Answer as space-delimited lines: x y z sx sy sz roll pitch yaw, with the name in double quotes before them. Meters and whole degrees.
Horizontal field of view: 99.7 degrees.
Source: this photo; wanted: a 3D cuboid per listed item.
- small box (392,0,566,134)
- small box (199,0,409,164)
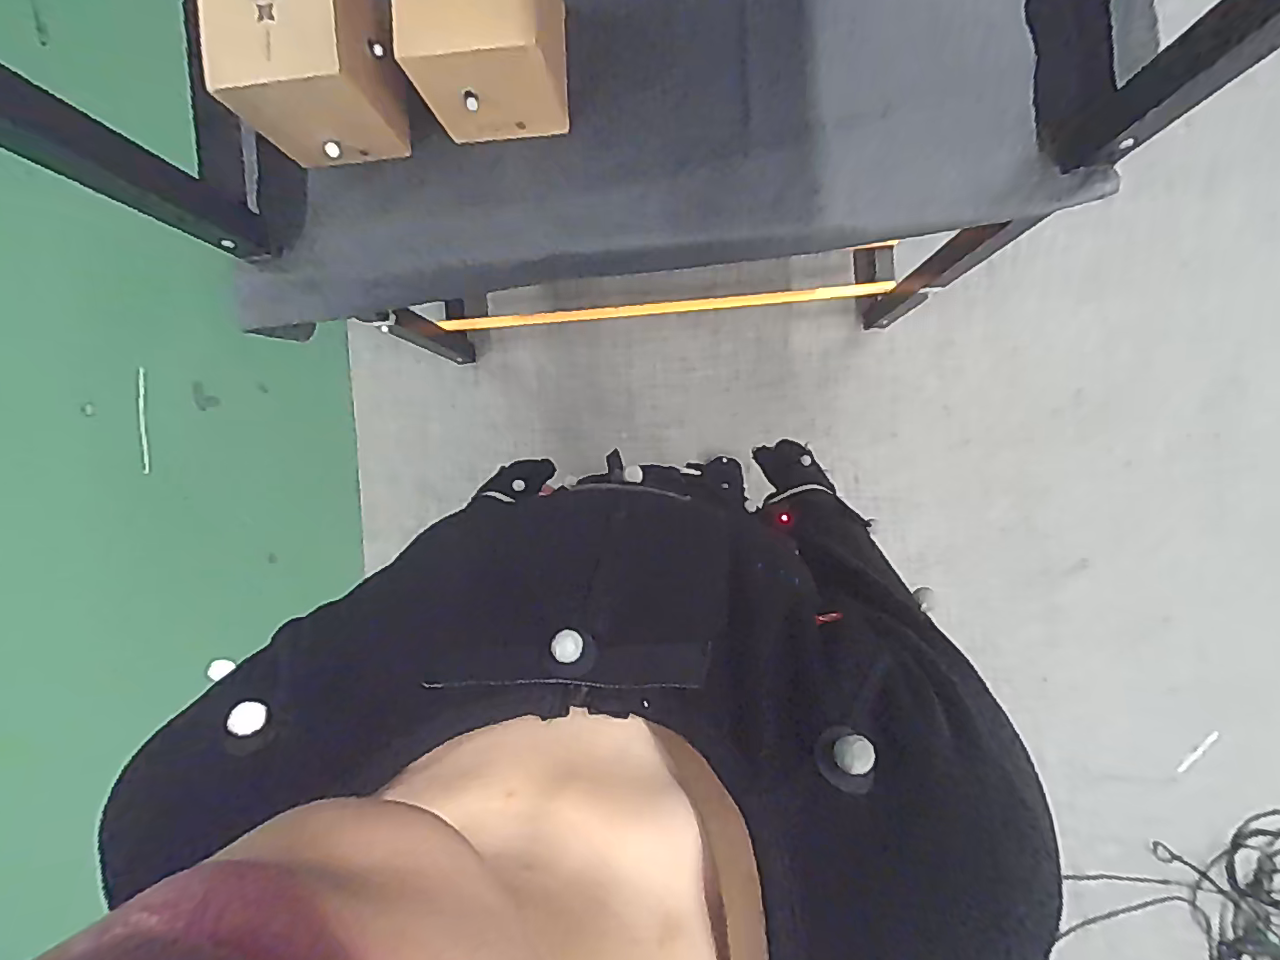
"small box" -0.192 -0.568 0.682 0.168 0.176 0.179 -2 91 4
"small box" -0.418 -0.546 0.697 0.168 0.176 0.179 -4 91 4
